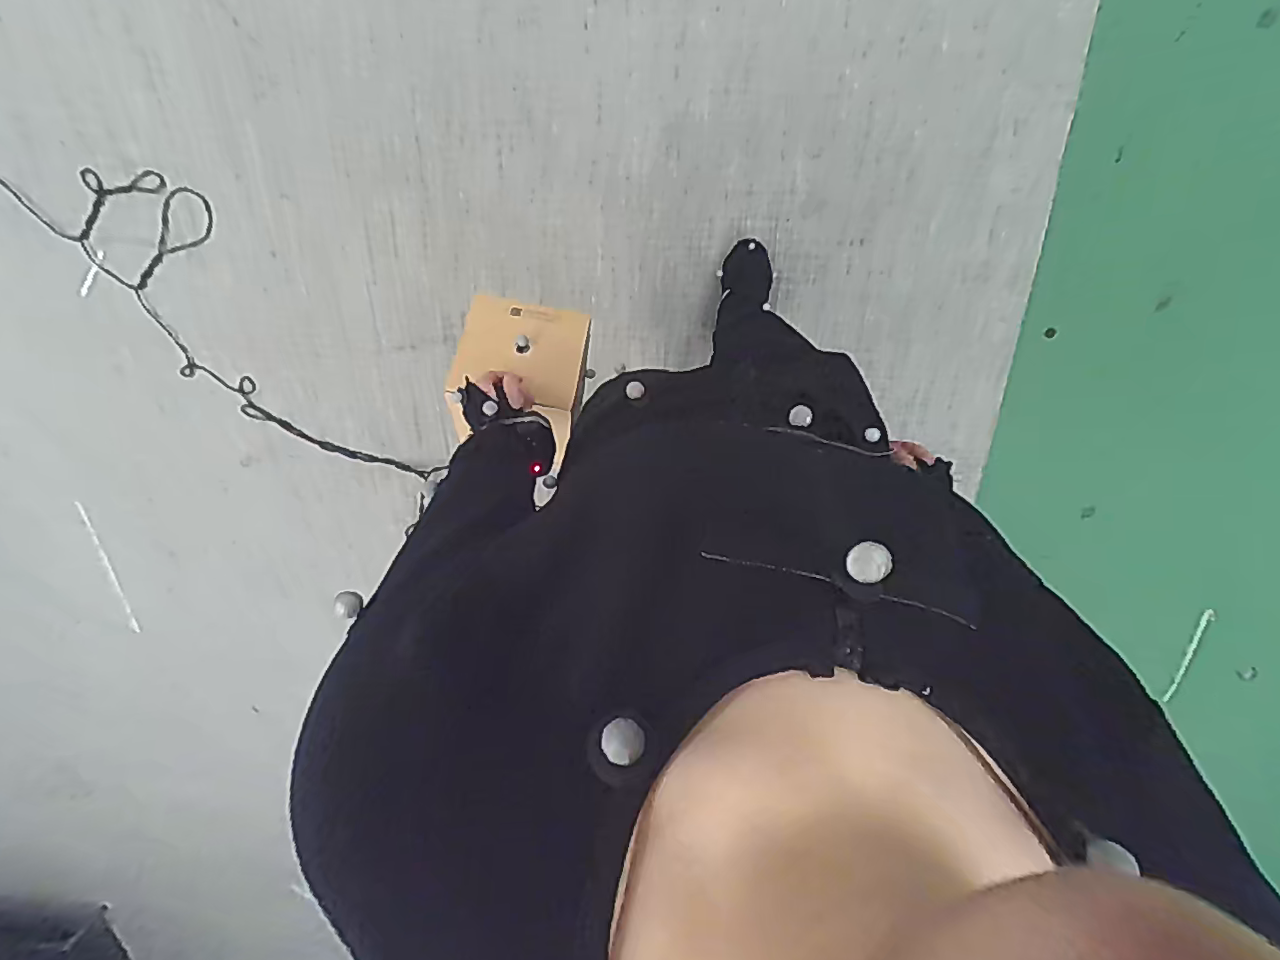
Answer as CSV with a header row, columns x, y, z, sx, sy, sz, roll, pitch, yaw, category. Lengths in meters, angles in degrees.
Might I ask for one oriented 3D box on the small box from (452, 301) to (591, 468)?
x,y,z,sx,sy,sz,roll,pitch,yaw,category
-0.166,-0.139,0.804,0.168,0.176,0.179,8,153,-4,small box
